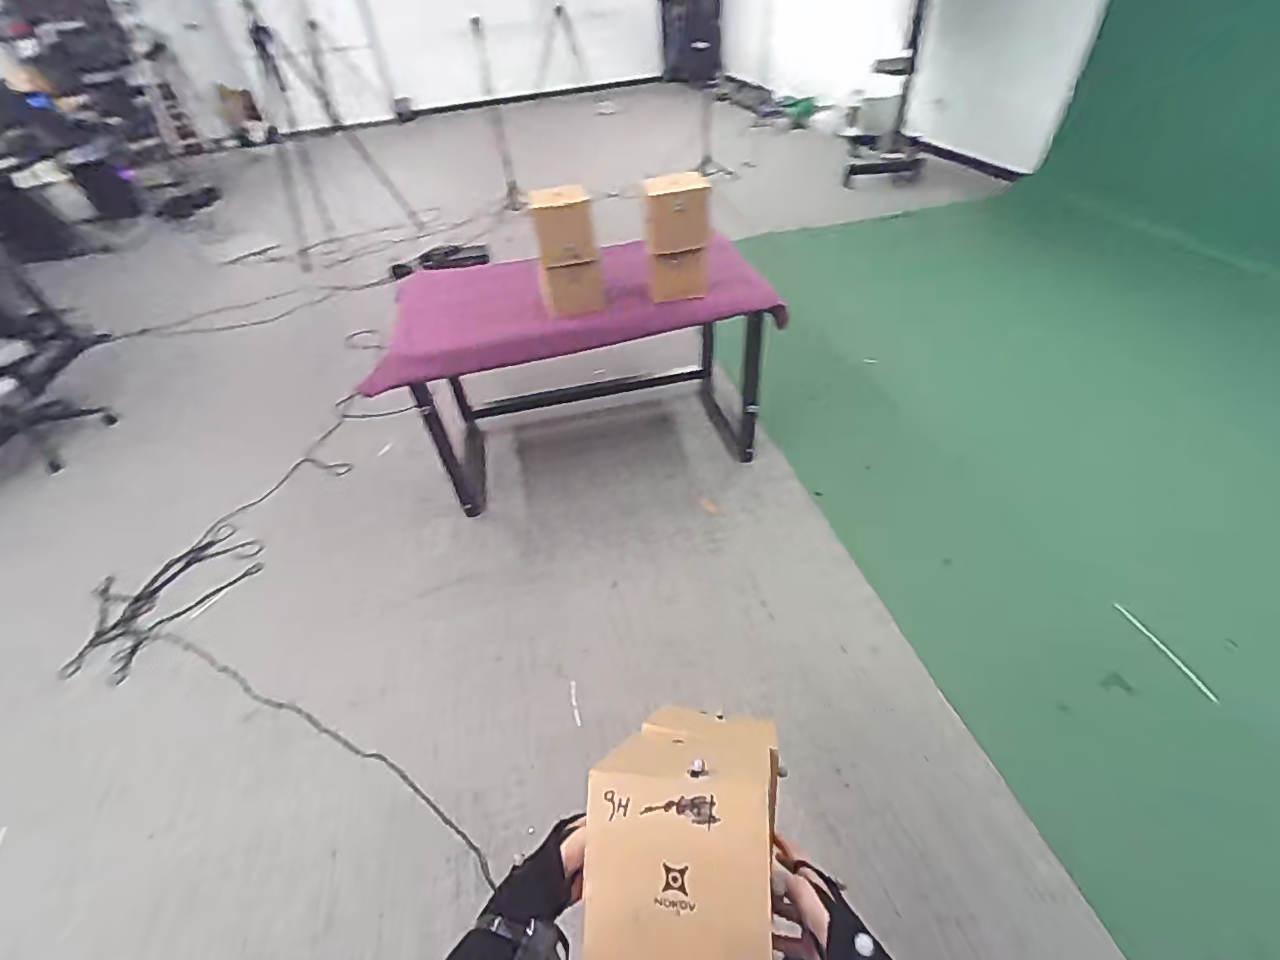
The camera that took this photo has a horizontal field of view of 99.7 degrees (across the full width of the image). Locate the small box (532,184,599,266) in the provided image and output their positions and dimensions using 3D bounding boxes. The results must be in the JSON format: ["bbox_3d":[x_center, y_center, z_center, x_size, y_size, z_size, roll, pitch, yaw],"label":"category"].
[{"bbox_3d":[-0.219,-0.753,1.598,0.168,0.176,0.179,-11,44,-5],"label":"small box"}]

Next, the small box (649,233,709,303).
[{"bbox_3d":[0.125,-0.686,1.726,0.179,0.176,0.168,-6,43,2],"label":"small box"}]

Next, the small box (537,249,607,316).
[{"bbox_3d":[-0.212,-0.639,1.716,0.179,0.176,0.168,-16,44,-11],"label":"small box"}]

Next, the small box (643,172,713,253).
[{"bbox_3d":[0.114,-0.784,1.592,0.179,0.176,0.168,-10,43,-2],"label":"small box"}]
